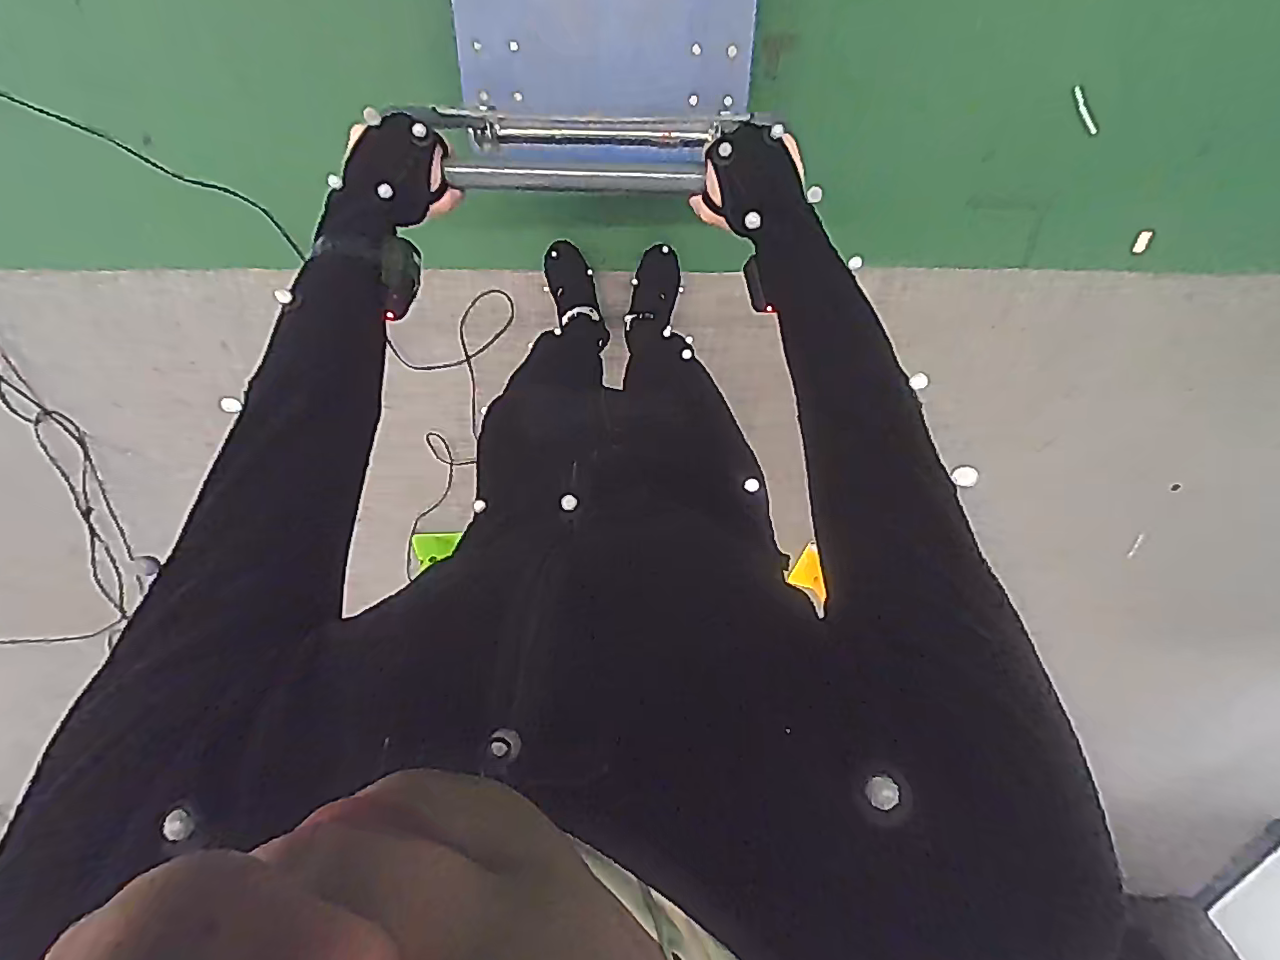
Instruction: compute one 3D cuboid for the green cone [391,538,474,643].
[{"bbox_3d":[-0.696,0.368,1.728,0.202,0.368,0.200,-2,120,4],"label":"green cone"}]
